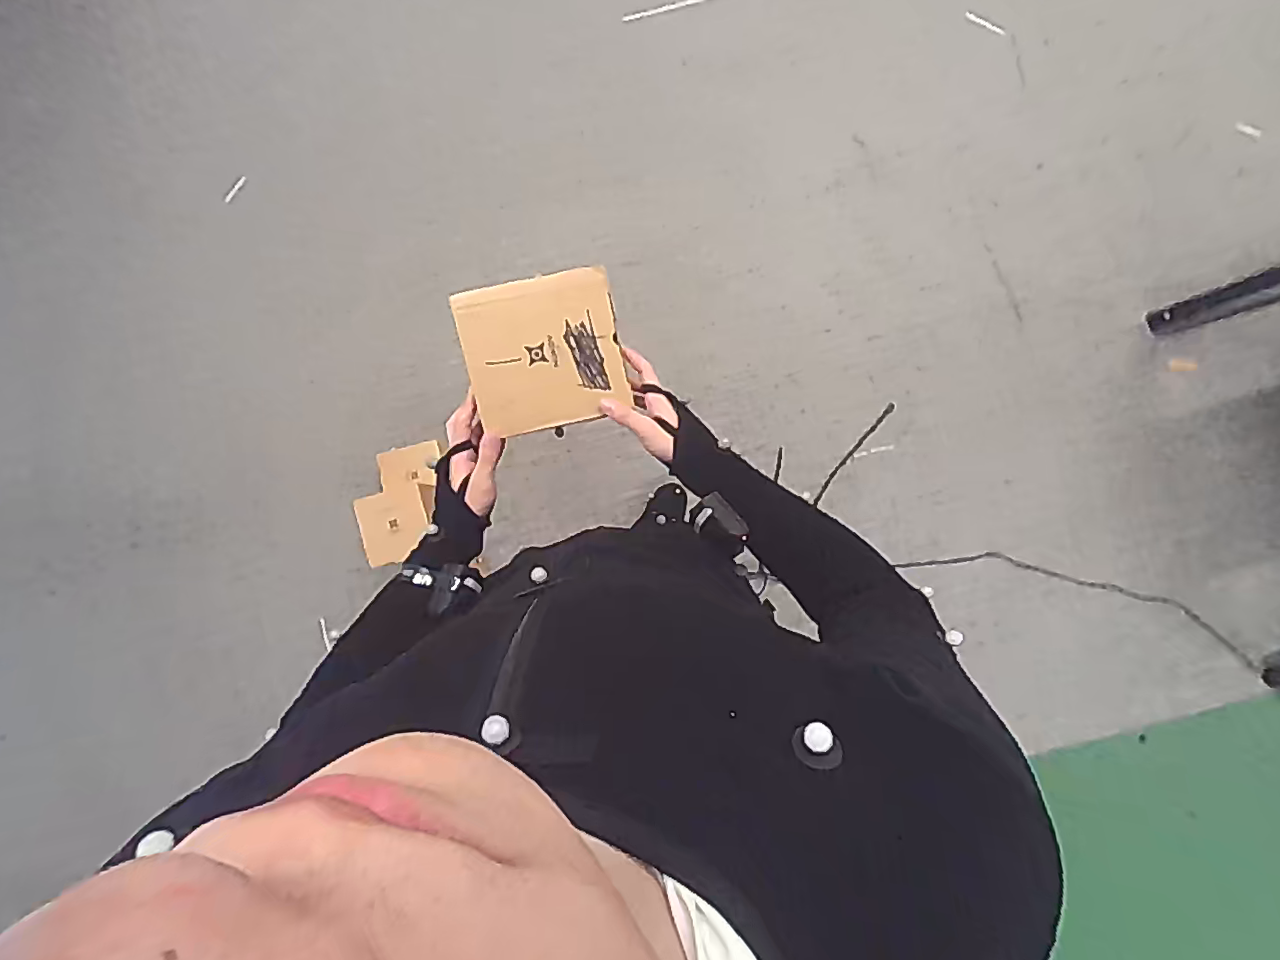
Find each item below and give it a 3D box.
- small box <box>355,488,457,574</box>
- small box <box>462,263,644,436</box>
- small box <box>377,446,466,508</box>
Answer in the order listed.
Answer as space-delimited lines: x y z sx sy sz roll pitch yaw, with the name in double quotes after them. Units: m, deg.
-0.591 0.129 1.391 0.168 0.176 0.179 -17 85 -1 "small box"
-0.102 -0.156 0.679 0.179 0.176 0.168 -12 98 -3 "small box"
-0.620 0.006 1.561 0.179 0.176 0.168 -15 87 0 "small box"
